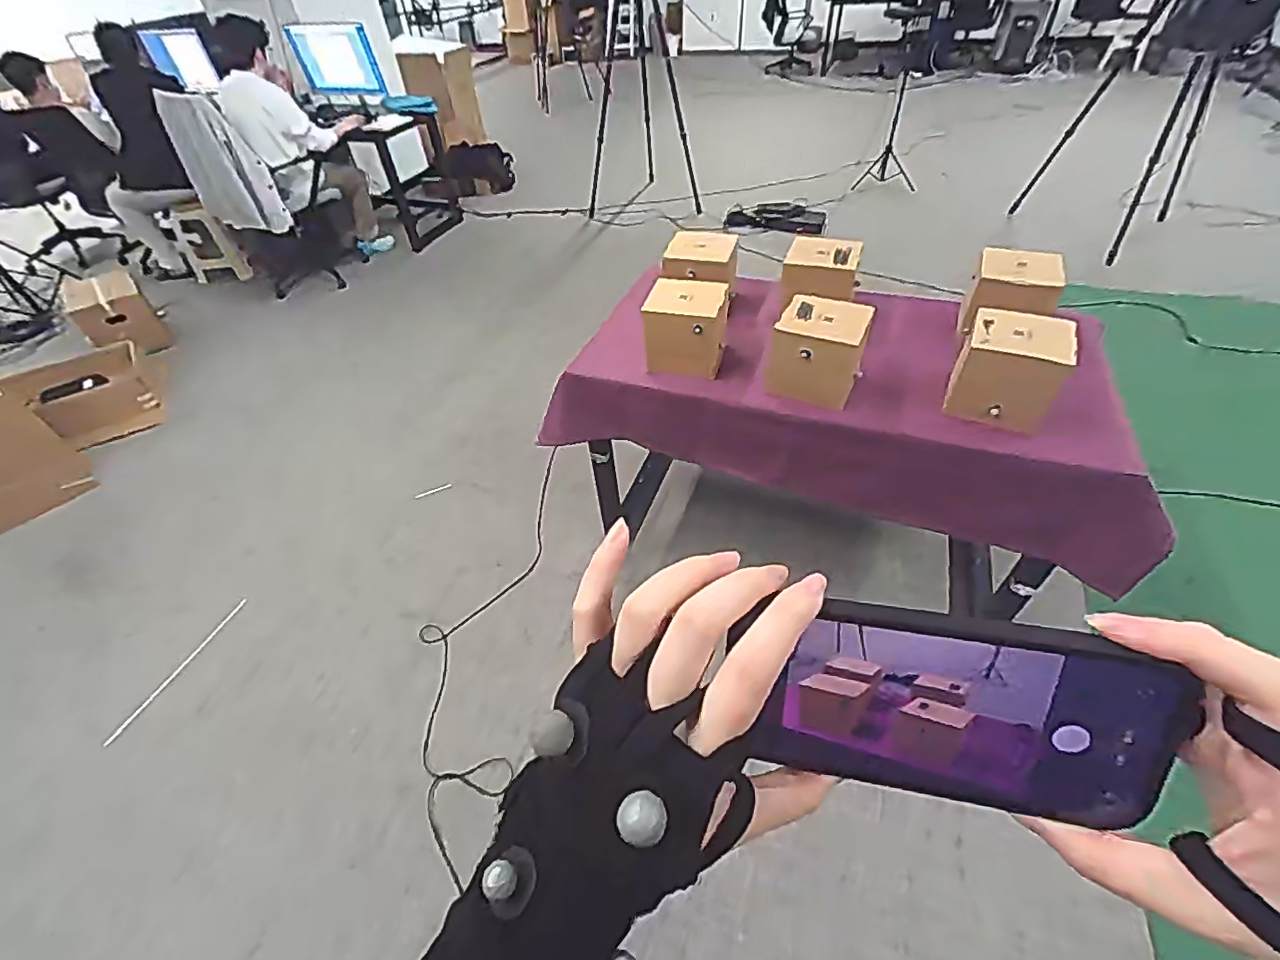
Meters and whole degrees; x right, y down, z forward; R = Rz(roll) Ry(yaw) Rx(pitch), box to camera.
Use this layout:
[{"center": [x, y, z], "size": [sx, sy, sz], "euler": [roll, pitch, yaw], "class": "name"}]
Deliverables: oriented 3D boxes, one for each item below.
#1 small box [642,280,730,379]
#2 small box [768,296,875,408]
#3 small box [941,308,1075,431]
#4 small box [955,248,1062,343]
[{"center": [0.112, -0.363, 1.307], "size": [0.179, 0.176, 0.168], "euler": [10, 47, 12], "class": "small box"}, {"center": [0.397, -0.284, 1.204], "size": [0.179, 0.176, 0.168], "euler": [19, 50, 21], "class": "small box"}, {"center": [0.753, -0.225, 1.115], "size": [0.179, 0.176, 0.168], "euler": [19, 50, 22], "class": "small box"}, {"center": [0.883, -0.435, 1.308], "size": [0.168, 0.176, 0.179], "euler": [16, 50, 20], "class": "small box"}]
